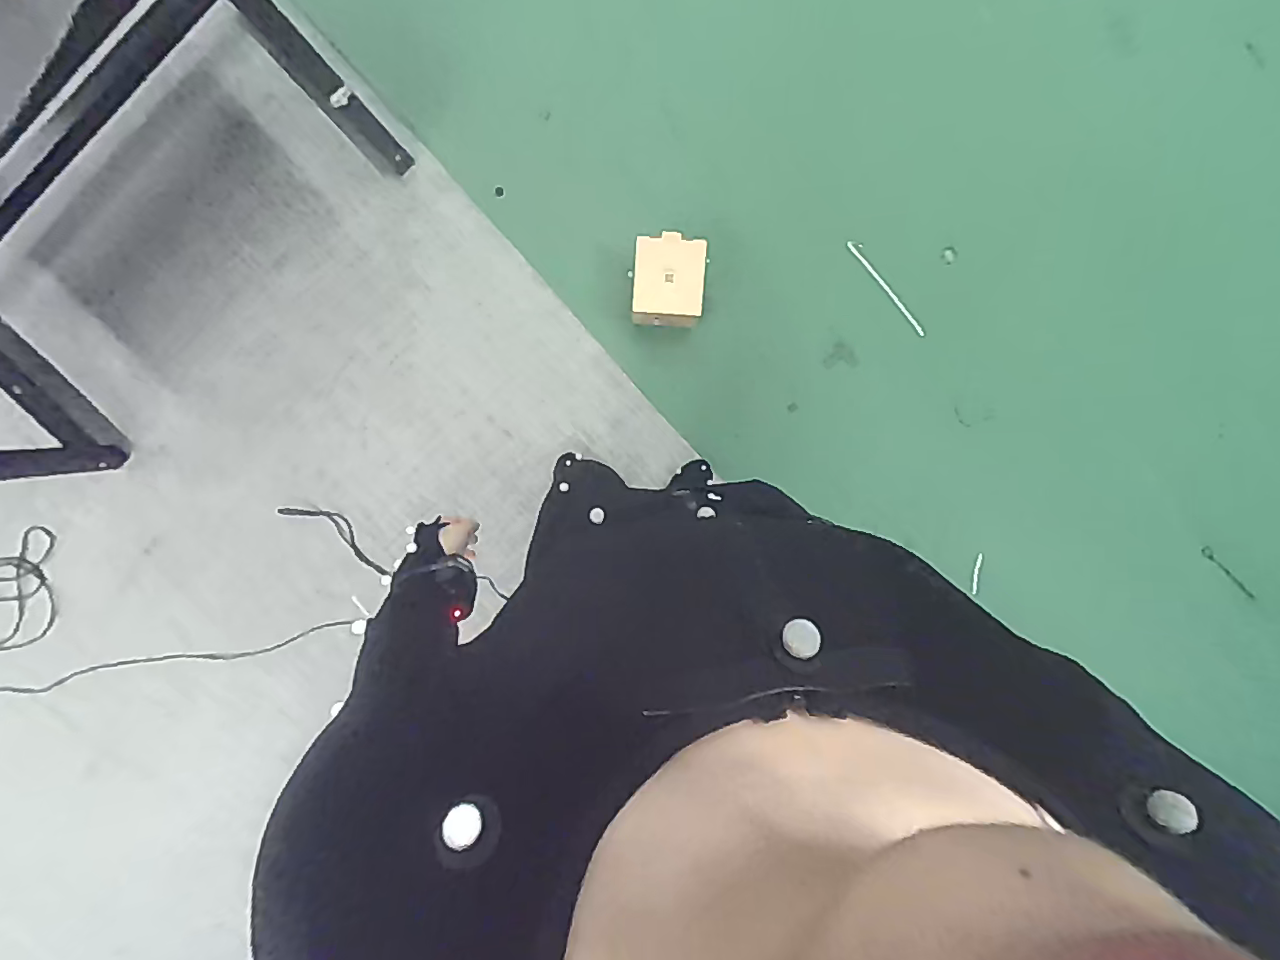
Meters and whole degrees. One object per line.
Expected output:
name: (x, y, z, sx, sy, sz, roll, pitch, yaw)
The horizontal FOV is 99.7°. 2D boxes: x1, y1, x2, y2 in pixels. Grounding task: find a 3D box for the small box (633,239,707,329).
small box: (0.072, -0.477, 1.340, 0.168, 0.176, 0.179, 3, 96, 1)
